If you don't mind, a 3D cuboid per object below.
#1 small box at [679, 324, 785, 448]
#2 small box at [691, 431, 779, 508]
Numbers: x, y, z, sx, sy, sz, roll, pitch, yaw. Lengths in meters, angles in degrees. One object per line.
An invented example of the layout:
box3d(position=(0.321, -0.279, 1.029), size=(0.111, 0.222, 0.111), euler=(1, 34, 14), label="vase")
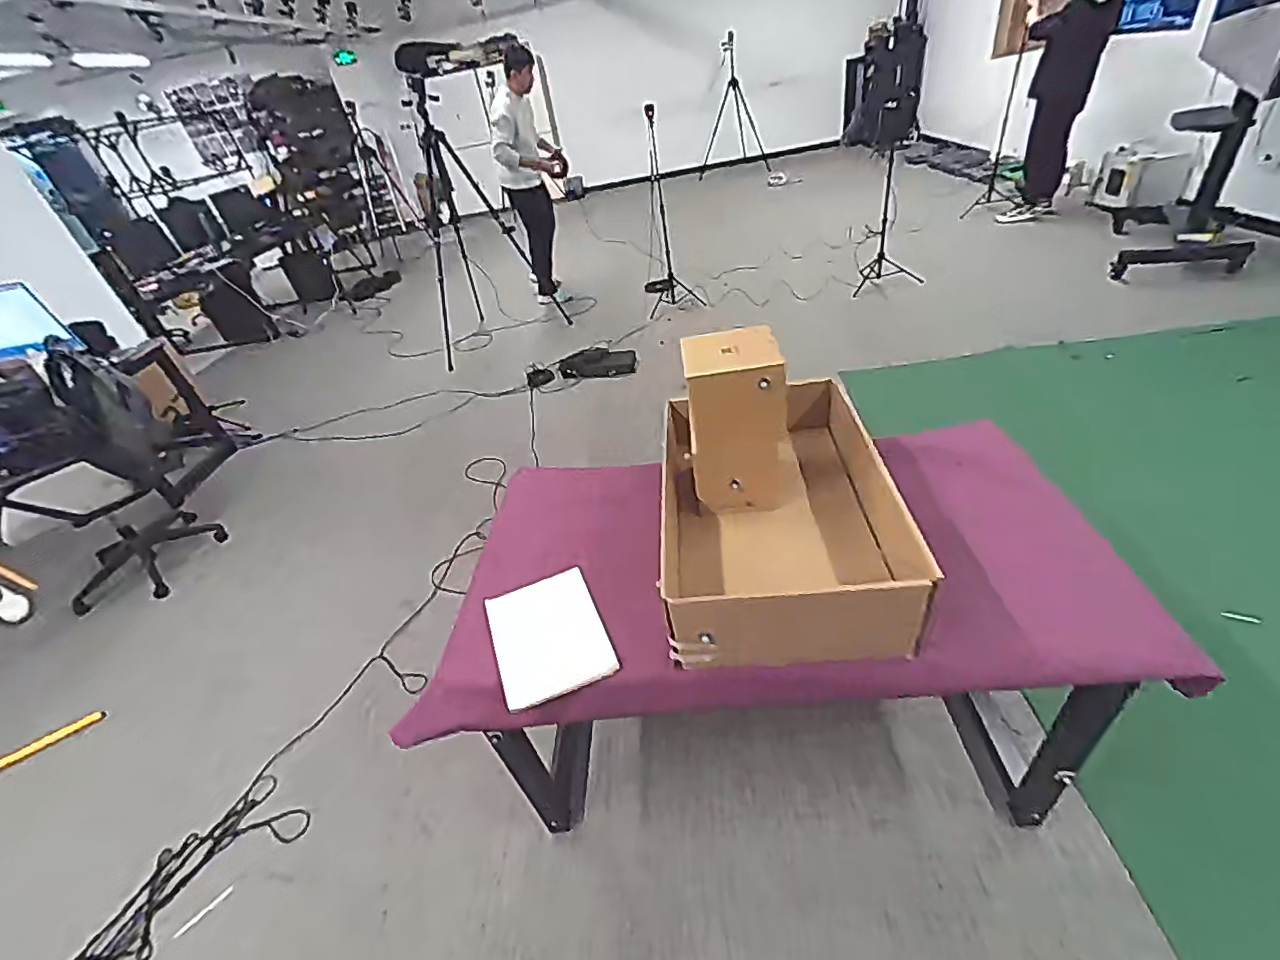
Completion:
box3d(position=(0.176, -0.177, 1.035), size=(0.179, 0.176, 0.168), euler=(-7, 39, 6), label="small box")
box3d(position=(0.198, -0.053, 1.138), size=(0.168, 0.176, 0.179), euler=(-6, 39, 8), label="small box")
